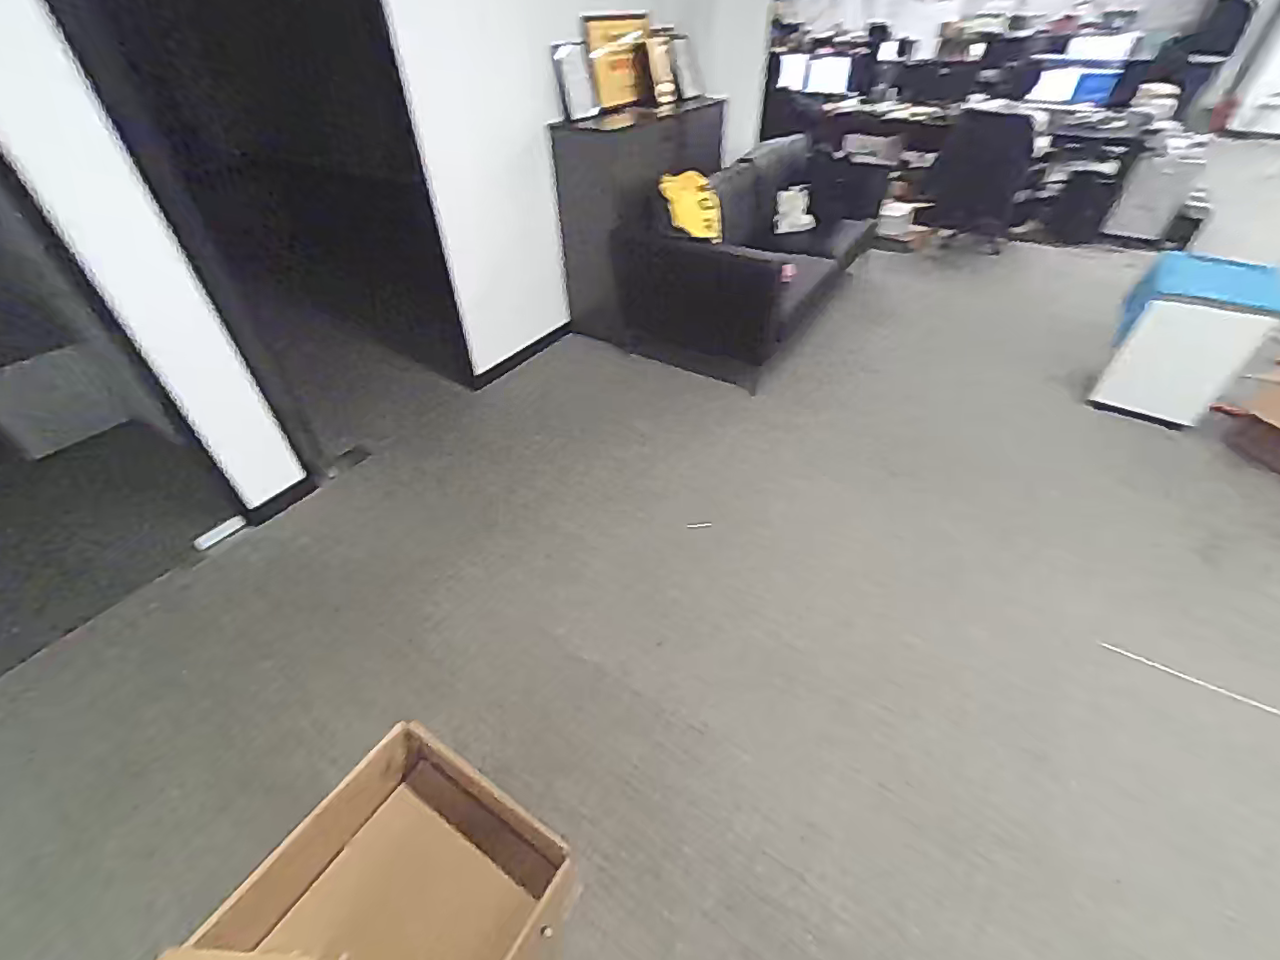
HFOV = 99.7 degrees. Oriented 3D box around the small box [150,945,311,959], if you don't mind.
[{"bbox_3d":[-0.454,0.633,0.586,0.179,0.176,0.168,2,41,3],"label":"small box"}]
